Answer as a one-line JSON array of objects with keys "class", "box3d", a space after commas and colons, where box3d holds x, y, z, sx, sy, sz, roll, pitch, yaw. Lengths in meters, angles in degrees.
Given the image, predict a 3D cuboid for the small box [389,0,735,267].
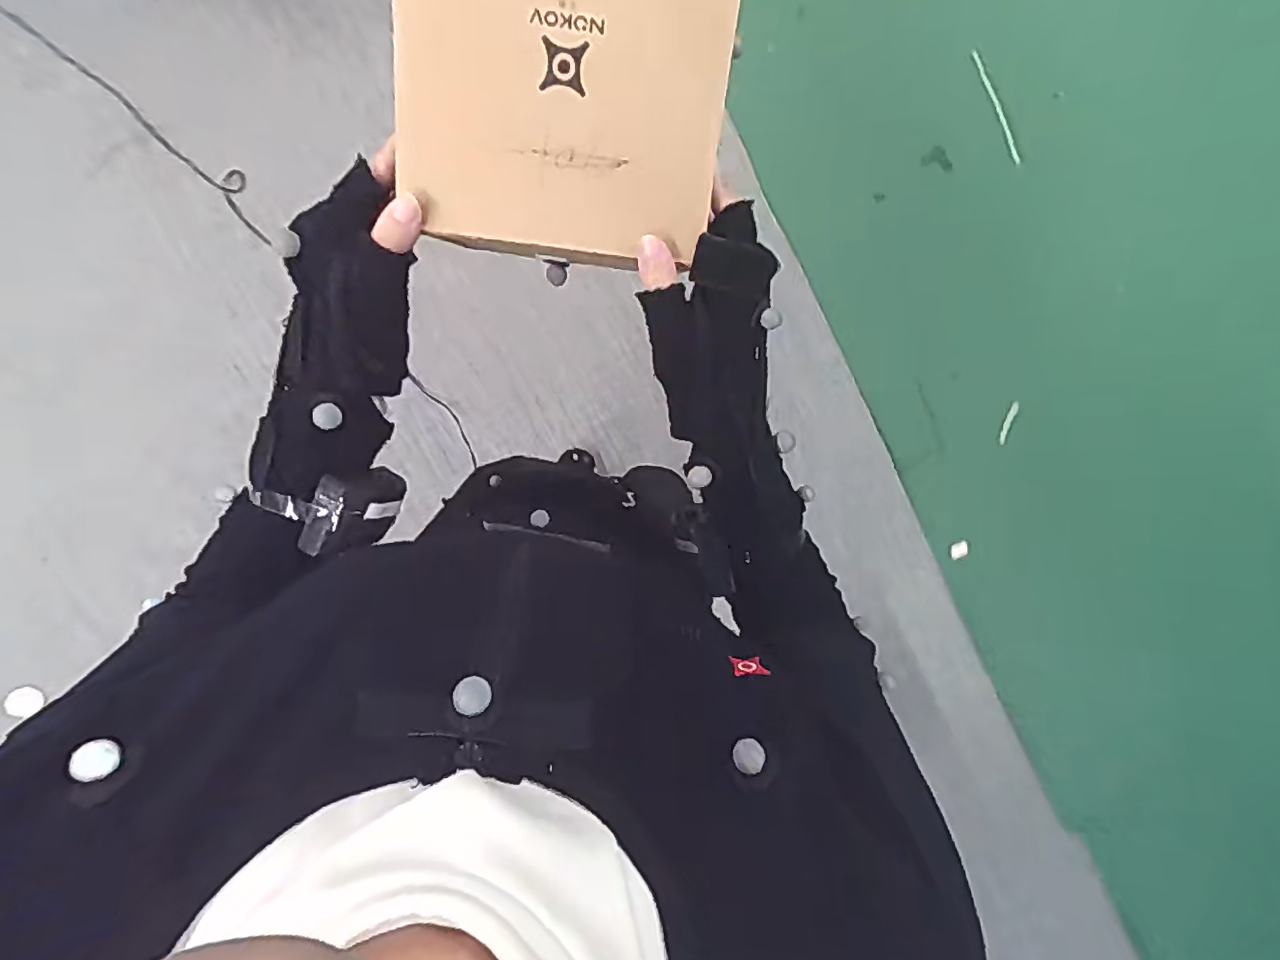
[{"class": "small box", "box3d": [-0.040, -0.239, 0.339, 0.168, 0.176, 0.179, 6, 110, -2]}]
